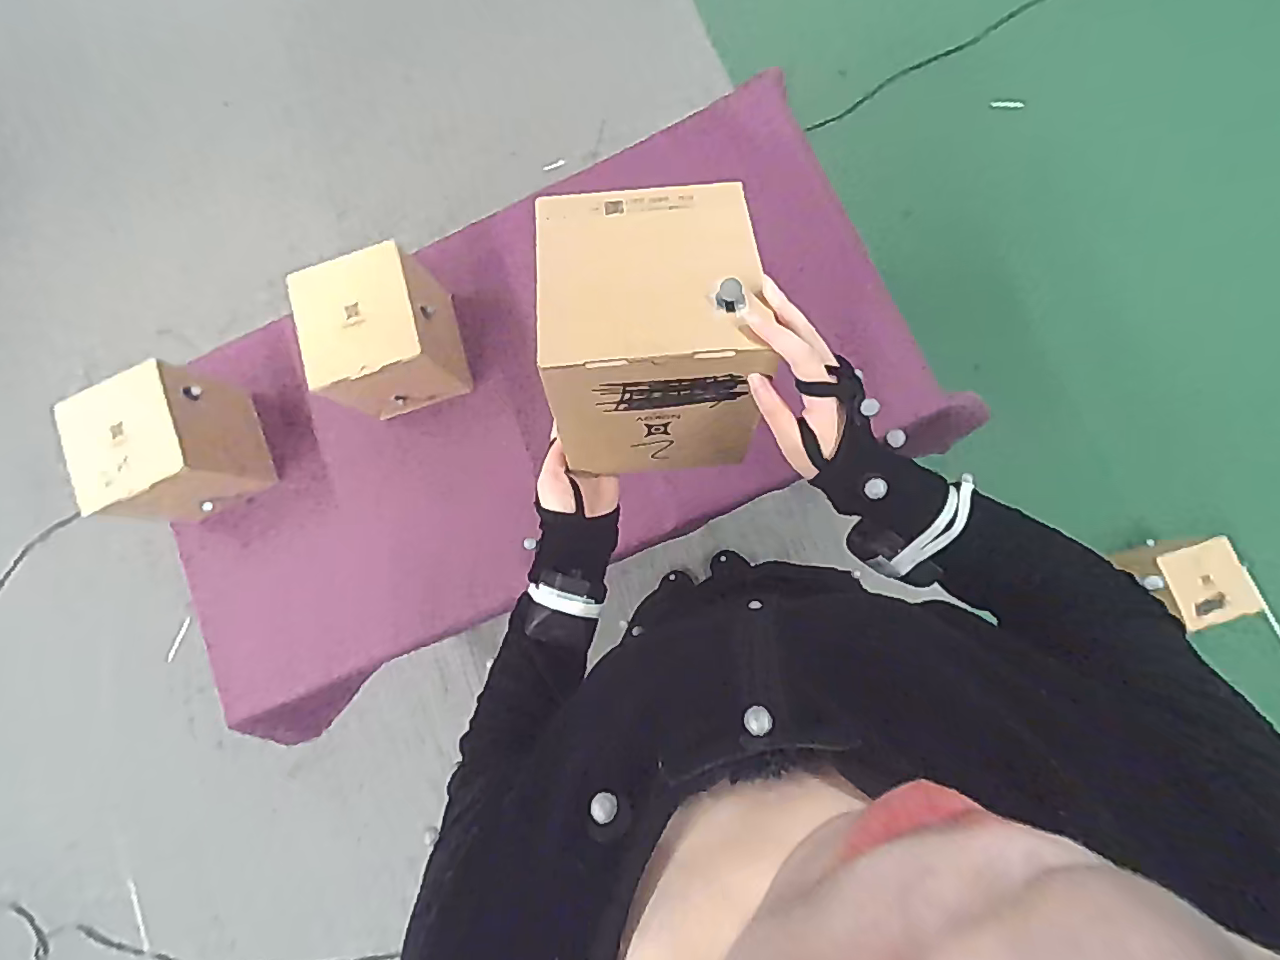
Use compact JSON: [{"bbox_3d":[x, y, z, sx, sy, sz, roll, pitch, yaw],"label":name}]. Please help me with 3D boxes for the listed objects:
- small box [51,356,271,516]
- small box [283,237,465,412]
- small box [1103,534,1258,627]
[{"bbox_3d":[-0.715,-0.056,0.824,0.168,0.176,0.179,-24,81,3],"label":"small box"},{"bbox_3d":[-0.386,-0.220,0.810,0.168,0.176,0.179,-17,83,4],"label":"small box"},{"bbox_3d":[1.285,0.236,1.301,0.168,0.176,0.179,-19,80,4],"label":"small box"}]
